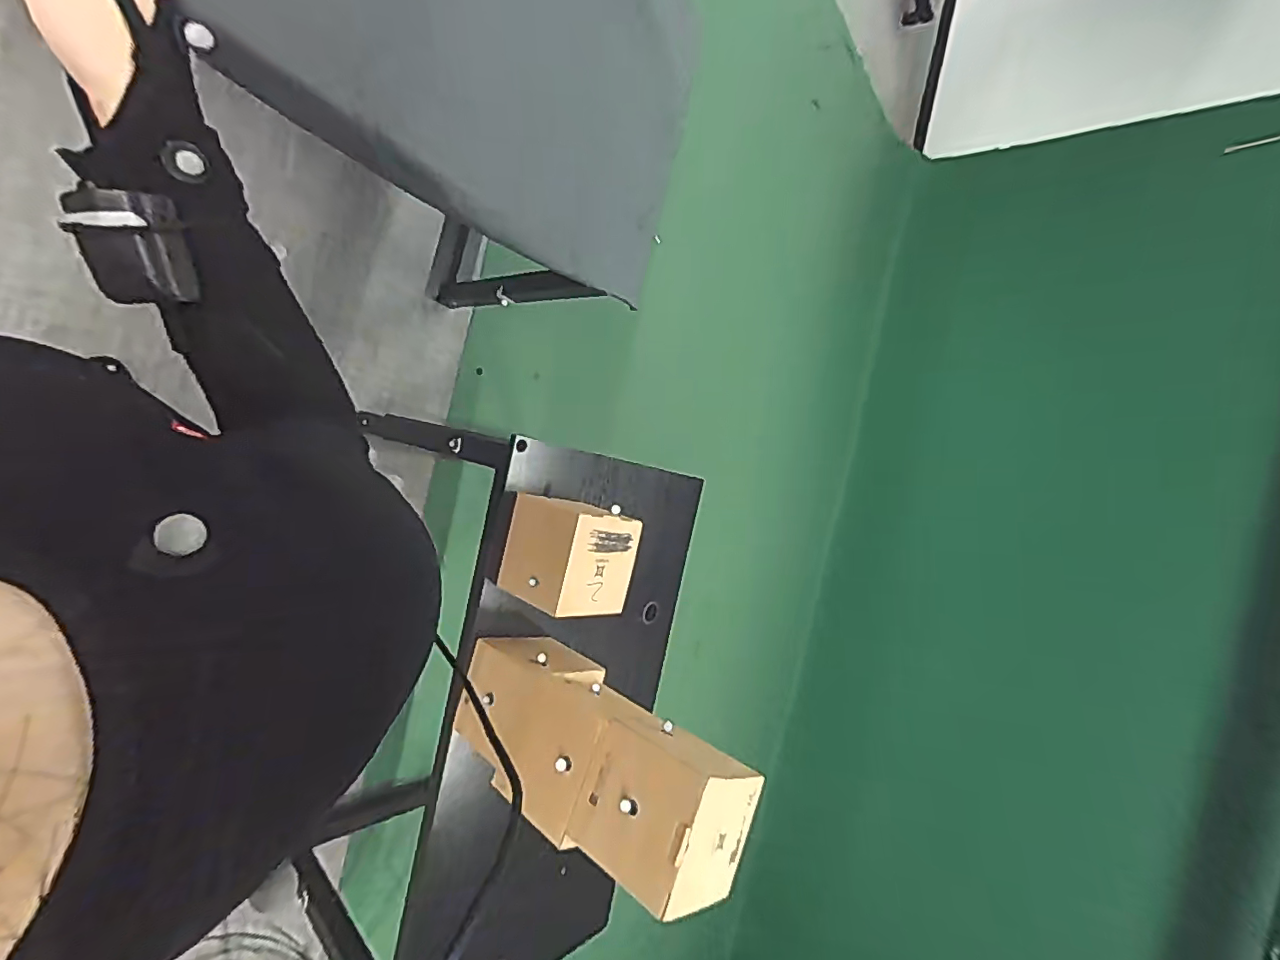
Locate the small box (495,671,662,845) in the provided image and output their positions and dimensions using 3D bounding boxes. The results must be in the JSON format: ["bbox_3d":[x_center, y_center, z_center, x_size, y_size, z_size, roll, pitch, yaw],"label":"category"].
[{"bbox_3d":[-0.098,0.422,0.843,0.168,0.176,0.179,31,77,-48],"label":"small box"}]

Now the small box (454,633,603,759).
[{"bbox_3d":[-0.201,0.383,0.965,0.179,0.176,0.168,19,87,-49],"label":"small box"}]

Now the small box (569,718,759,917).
[{"bbox_3d":[0.033,0.448,0.747,0.179,0.176,0.168,35,74,-46],"label":"small box"}]
